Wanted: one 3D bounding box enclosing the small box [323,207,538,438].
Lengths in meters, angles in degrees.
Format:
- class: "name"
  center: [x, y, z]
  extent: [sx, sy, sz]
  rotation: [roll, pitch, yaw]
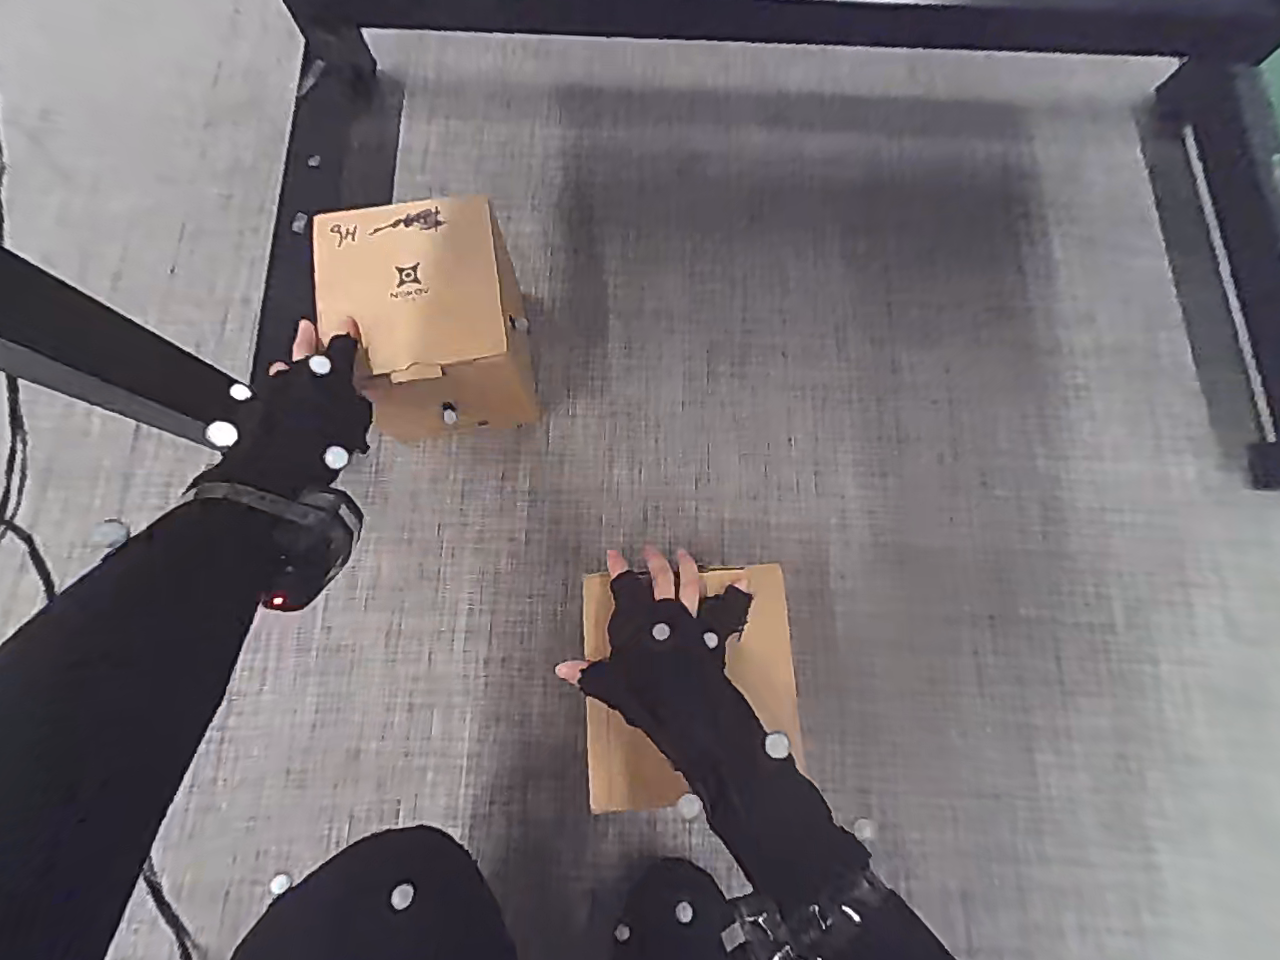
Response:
- class: "small box"
  center: [-0.209, -0.152, 0.578]
  extent: [0.168, 0.176, 0.179]
  rotation: [-9, 78, -4]
